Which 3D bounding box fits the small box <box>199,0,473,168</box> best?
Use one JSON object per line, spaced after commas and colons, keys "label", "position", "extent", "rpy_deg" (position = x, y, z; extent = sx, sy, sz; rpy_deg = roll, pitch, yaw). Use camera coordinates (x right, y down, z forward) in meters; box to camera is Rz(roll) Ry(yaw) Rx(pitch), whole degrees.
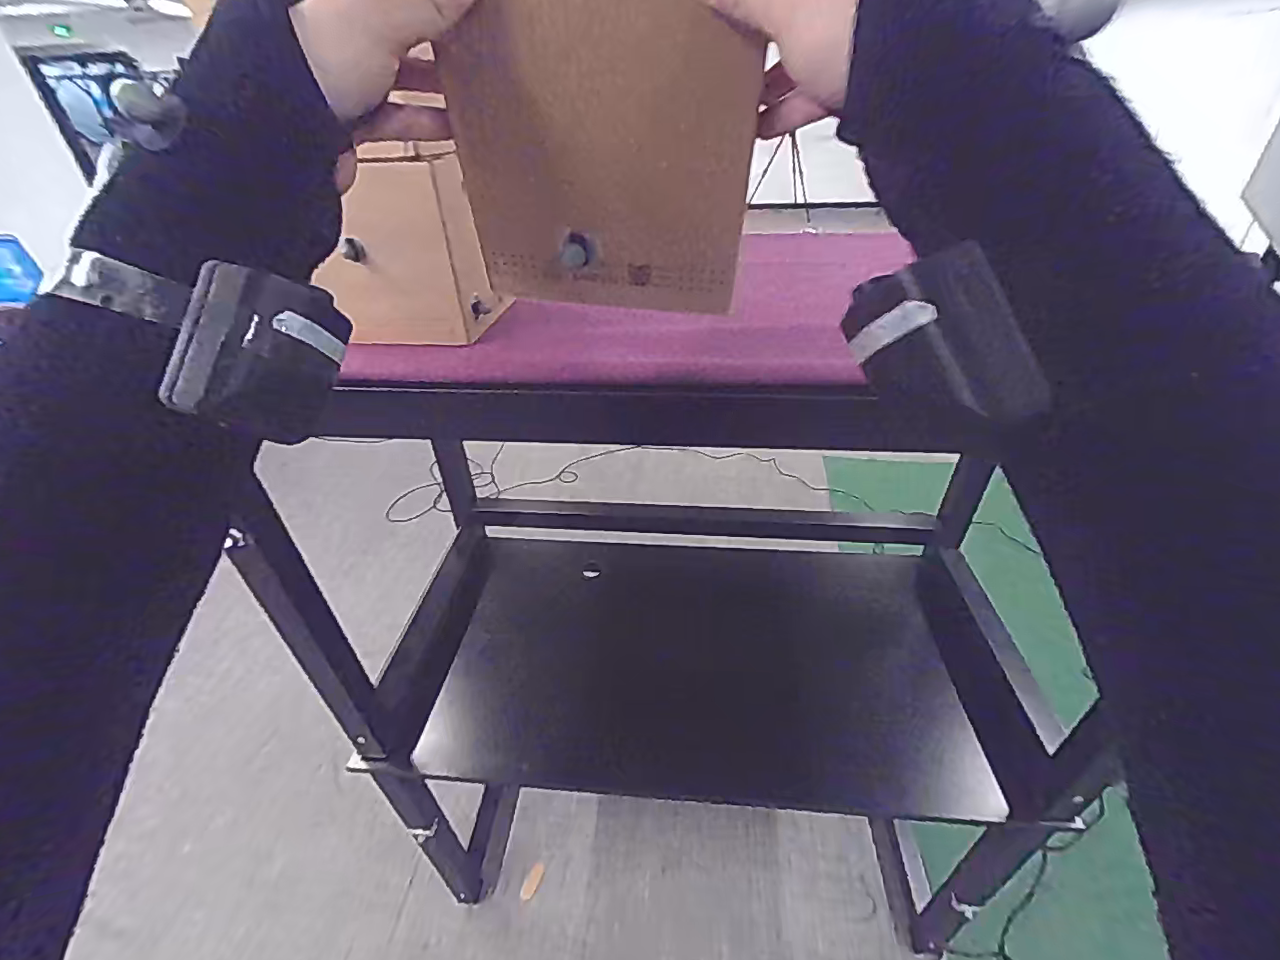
{"label": "small box", "position": [-0.259, -0.385, 0.494], "extent": [0.168, 0.176, 0.179], "rpy_deg": [2, 35, 6]}

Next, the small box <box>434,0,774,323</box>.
{"label": "small box", "position": [-0.009, -0.231, 0.361], "extent": [0.168, 0.176, 0.179], "rpy_deg": [6, 50, 6]}

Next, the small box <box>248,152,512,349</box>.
{"label": "small box", "position": [-0.251, -0.247, 0.579], "extent": [0.179, 0.176, 0.168], "rpy_deg": [1, 35, 6]}
